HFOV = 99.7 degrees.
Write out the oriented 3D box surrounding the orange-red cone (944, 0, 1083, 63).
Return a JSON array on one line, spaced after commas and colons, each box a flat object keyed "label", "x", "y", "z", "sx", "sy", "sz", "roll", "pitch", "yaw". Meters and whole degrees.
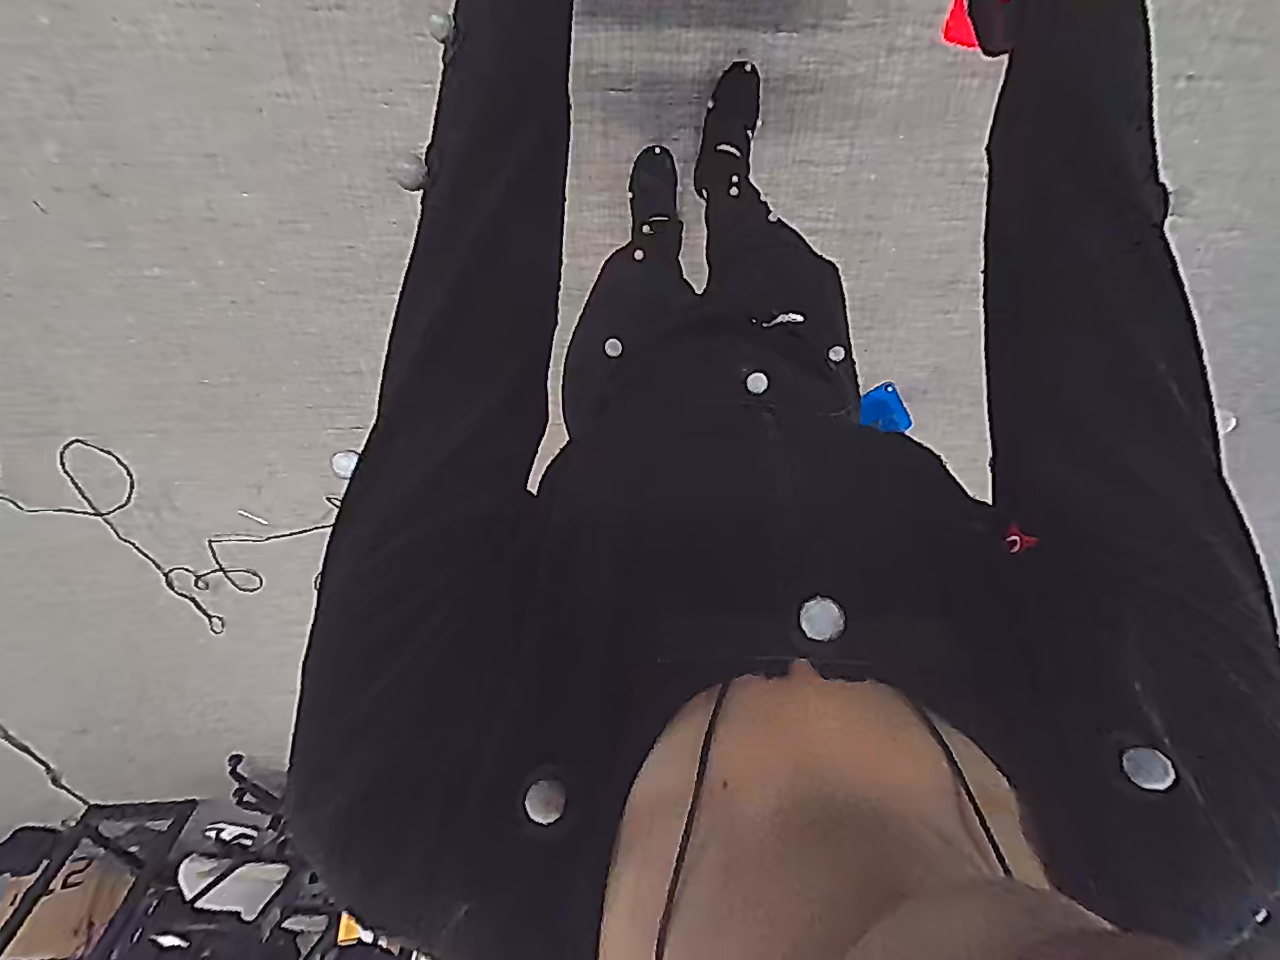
[{"label": "orange-red cone", "x": 0.728, "y": -0.850, "z": 0.918, "sx": 0.198, "sy": 0.360, "sz": 0.199, "roll": 8, "pitch": 127, "yaw": -8}]
